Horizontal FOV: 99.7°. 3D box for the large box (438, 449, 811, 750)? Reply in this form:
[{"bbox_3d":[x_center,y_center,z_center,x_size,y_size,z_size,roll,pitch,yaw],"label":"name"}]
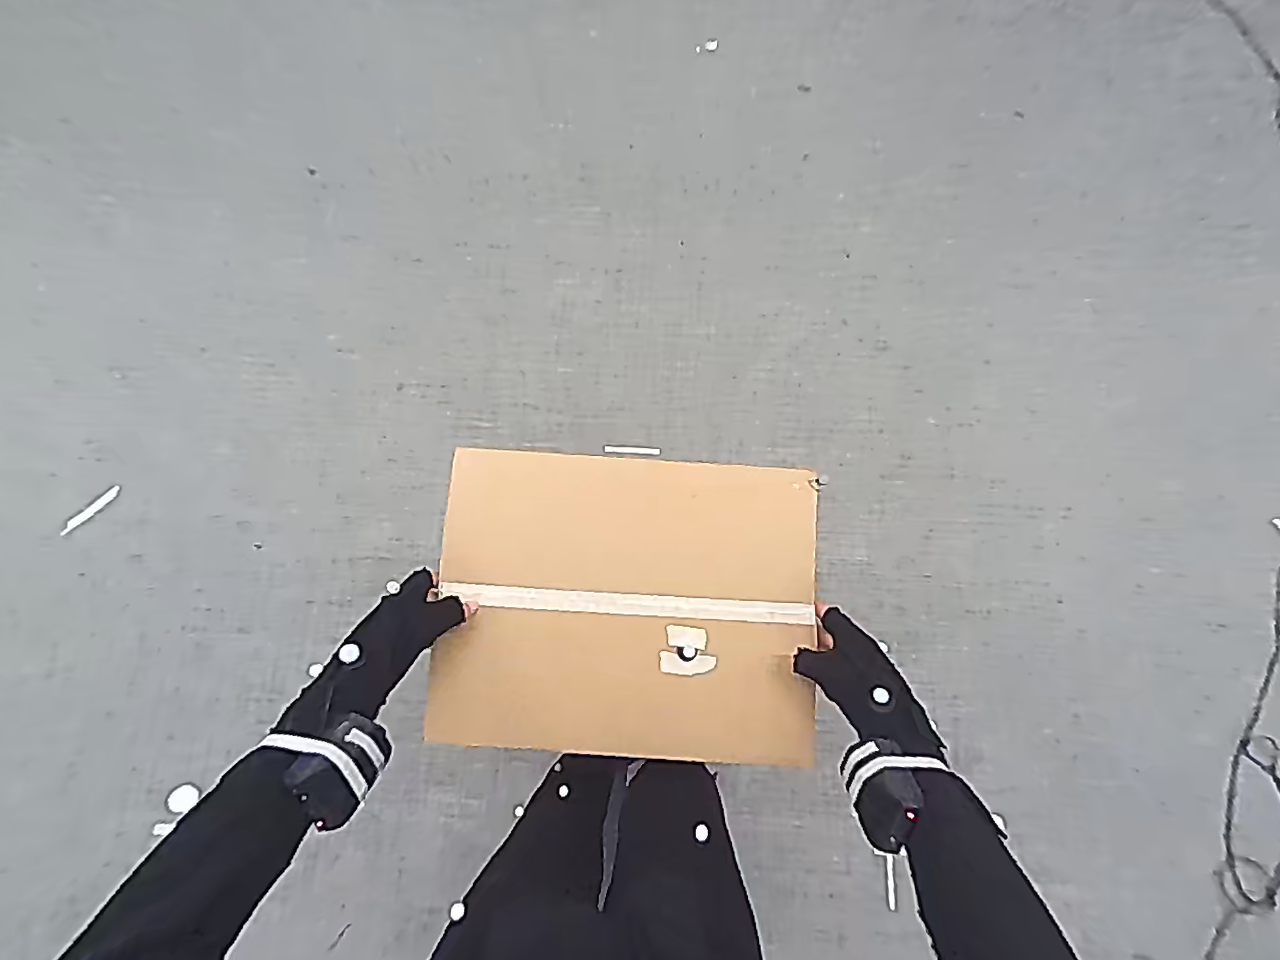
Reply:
[{"bbox_3d":[-0.014,0.149,0.741,0.408,0.320,0.320,4,83,-1],"label":"large box"}]
